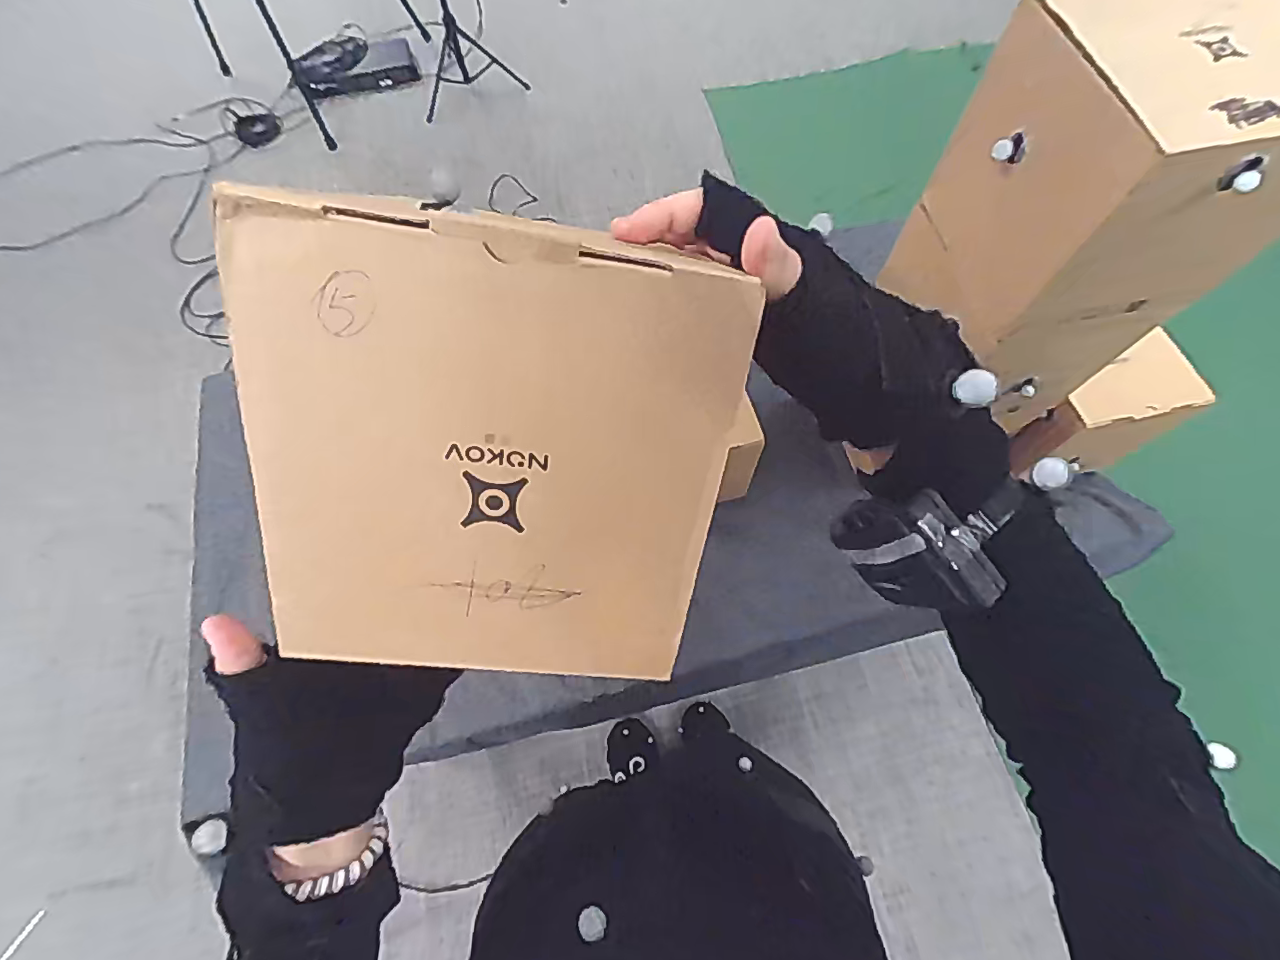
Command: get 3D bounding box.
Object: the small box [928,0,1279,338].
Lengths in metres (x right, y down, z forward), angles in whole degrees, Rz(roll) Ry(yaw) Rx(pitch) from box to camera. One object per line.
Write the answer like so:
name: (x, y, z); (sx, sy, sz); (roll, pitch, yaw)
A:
small box: (0.359, -0.239, 0.416); (0.168, 0.176, 0.179); (-10, 66, -2)

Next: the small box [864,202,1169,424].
small box: (0.366, -0.174, 0.567); (0.168, 0.176, 0.179); (-11, 66, -3)
